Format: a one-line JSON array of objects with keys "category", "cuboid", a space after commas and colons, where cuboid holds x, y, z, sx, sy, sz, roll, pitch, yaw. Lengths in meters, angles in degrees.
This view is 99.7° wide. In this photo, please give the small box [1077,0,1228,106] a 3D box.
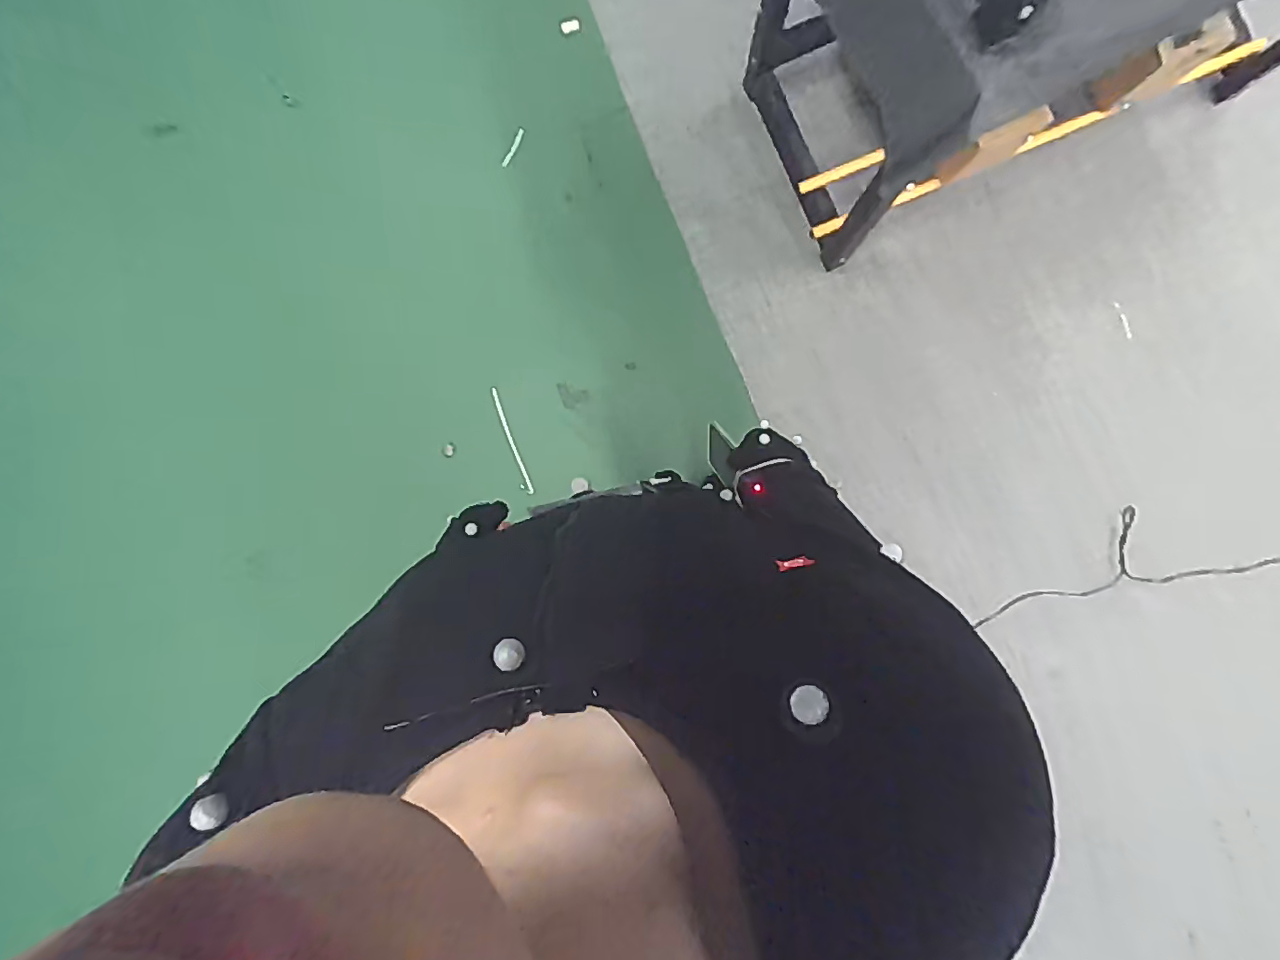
[{"category": "small box", "cuboid": [1.185, -1.022, 1.265, 0.168, 0.176, 0.179, -20, 89, 2]}]
